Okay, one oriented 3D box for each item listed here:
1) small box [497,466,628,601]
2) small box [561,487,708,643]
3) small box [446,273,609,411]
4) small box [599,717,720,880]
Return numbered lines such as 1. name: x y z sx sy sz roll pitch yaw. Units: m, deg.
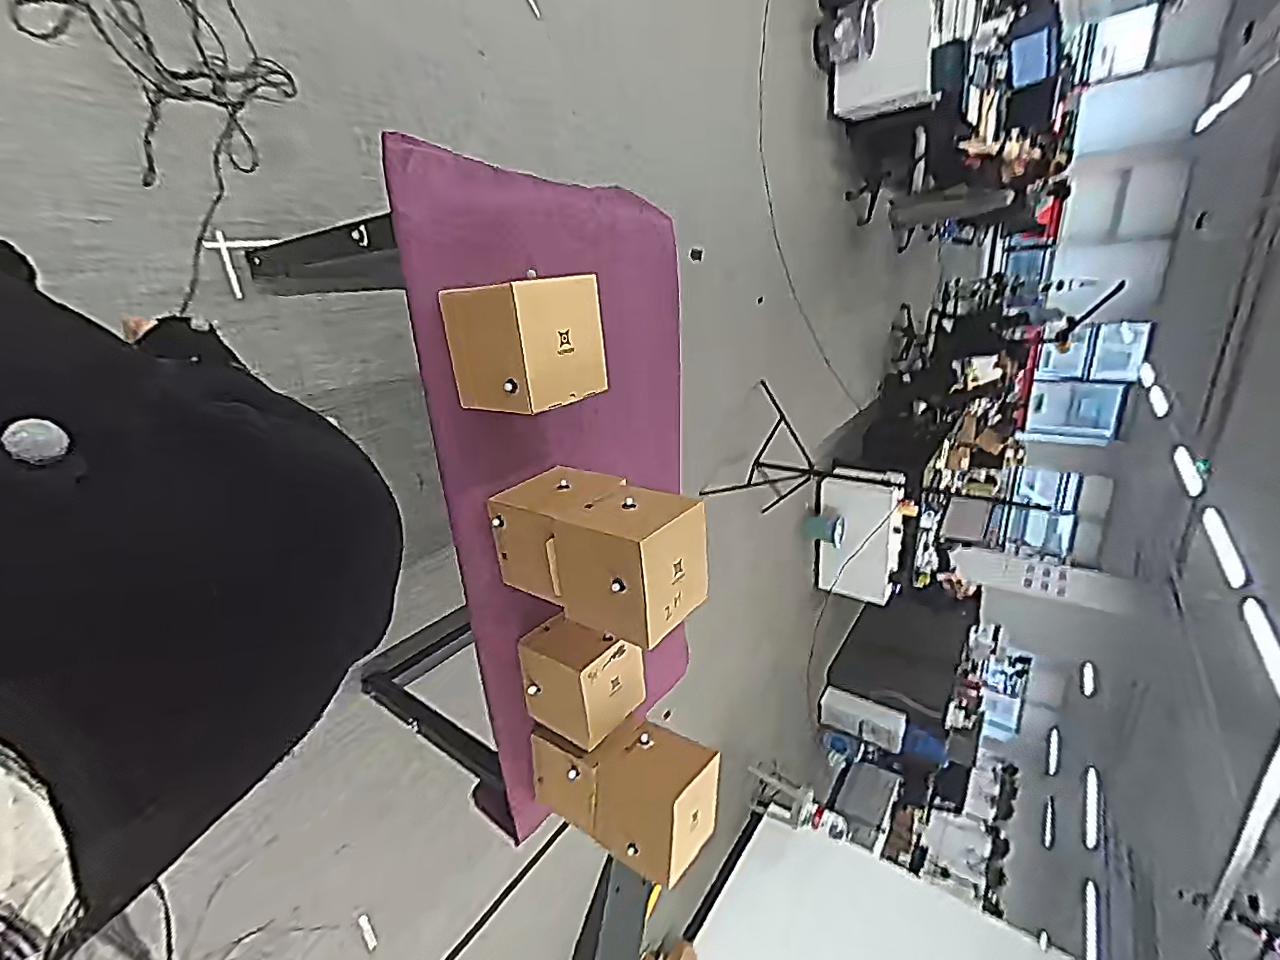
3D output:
1. small box: -0.131 0.085 0.953 0.179 0.176 0.168 -32 123 -47
2. small box: -0.008 0.118 0.848 0.168 0.176 0.179 -28 121 -47
3. small box: -0.170 -0.213 0.826 0.168 0.176 0.179 -30 123 -46
4. small box: 0.034 0.588 1.026 0.168 0.176 0.179 -12 107 -54
